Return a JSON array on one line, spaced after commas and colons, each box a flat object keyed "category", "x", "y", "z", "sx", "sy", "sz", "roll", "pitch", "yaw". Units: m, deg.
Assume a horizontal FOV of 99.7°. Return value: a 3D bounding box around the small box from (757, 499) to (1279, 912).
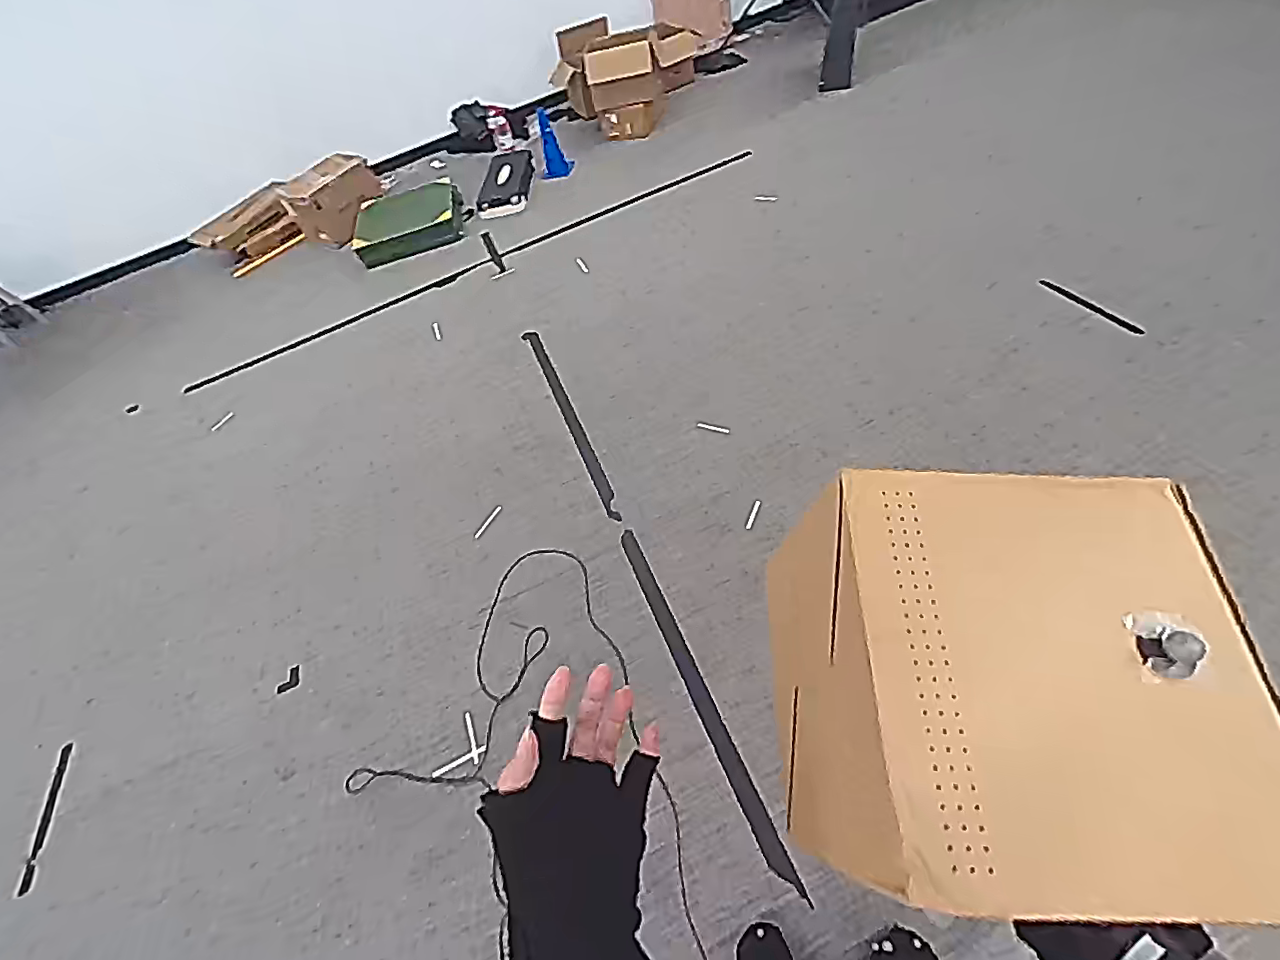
[{"category": "small box", "x": 0.167, "y": 0.120, "z": 0.307, "sx": 0.176, "sy": 0.168, "sz": 0.179, "roll": 1, "pitch": 63, "yaw": 0}]
